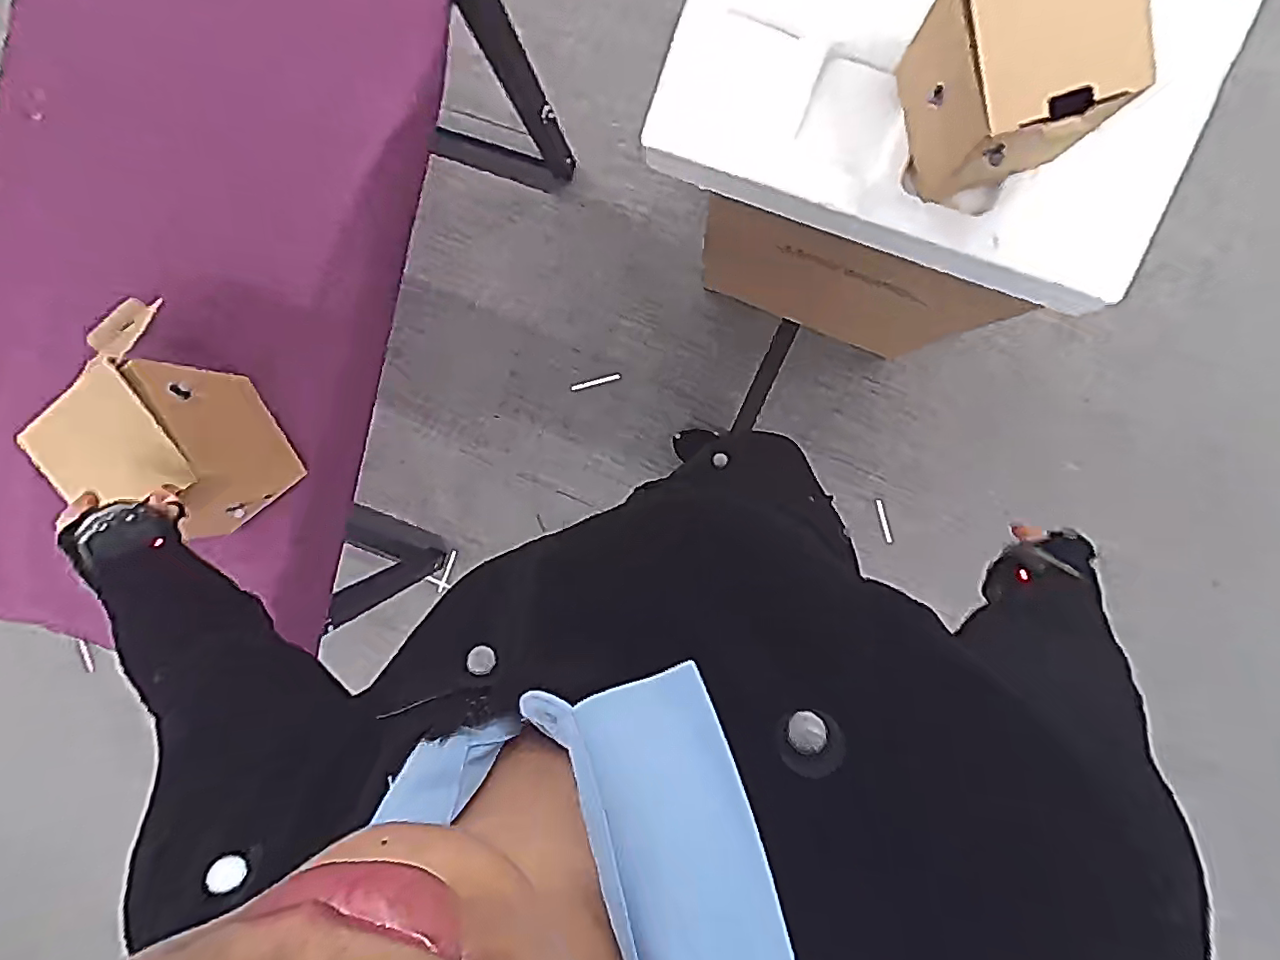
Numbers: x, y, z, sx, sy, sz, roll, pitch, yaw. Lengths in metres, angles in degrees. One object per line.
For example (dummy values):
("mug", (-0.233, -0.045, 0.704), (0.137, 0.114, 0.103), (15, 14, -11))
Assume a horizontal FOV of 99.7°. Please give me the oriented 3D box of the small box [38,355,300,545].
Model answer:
("small box", (-0.615, -0.036, 0.726), (0.168, 0.176, 0.179), (-35, 86, 9))
